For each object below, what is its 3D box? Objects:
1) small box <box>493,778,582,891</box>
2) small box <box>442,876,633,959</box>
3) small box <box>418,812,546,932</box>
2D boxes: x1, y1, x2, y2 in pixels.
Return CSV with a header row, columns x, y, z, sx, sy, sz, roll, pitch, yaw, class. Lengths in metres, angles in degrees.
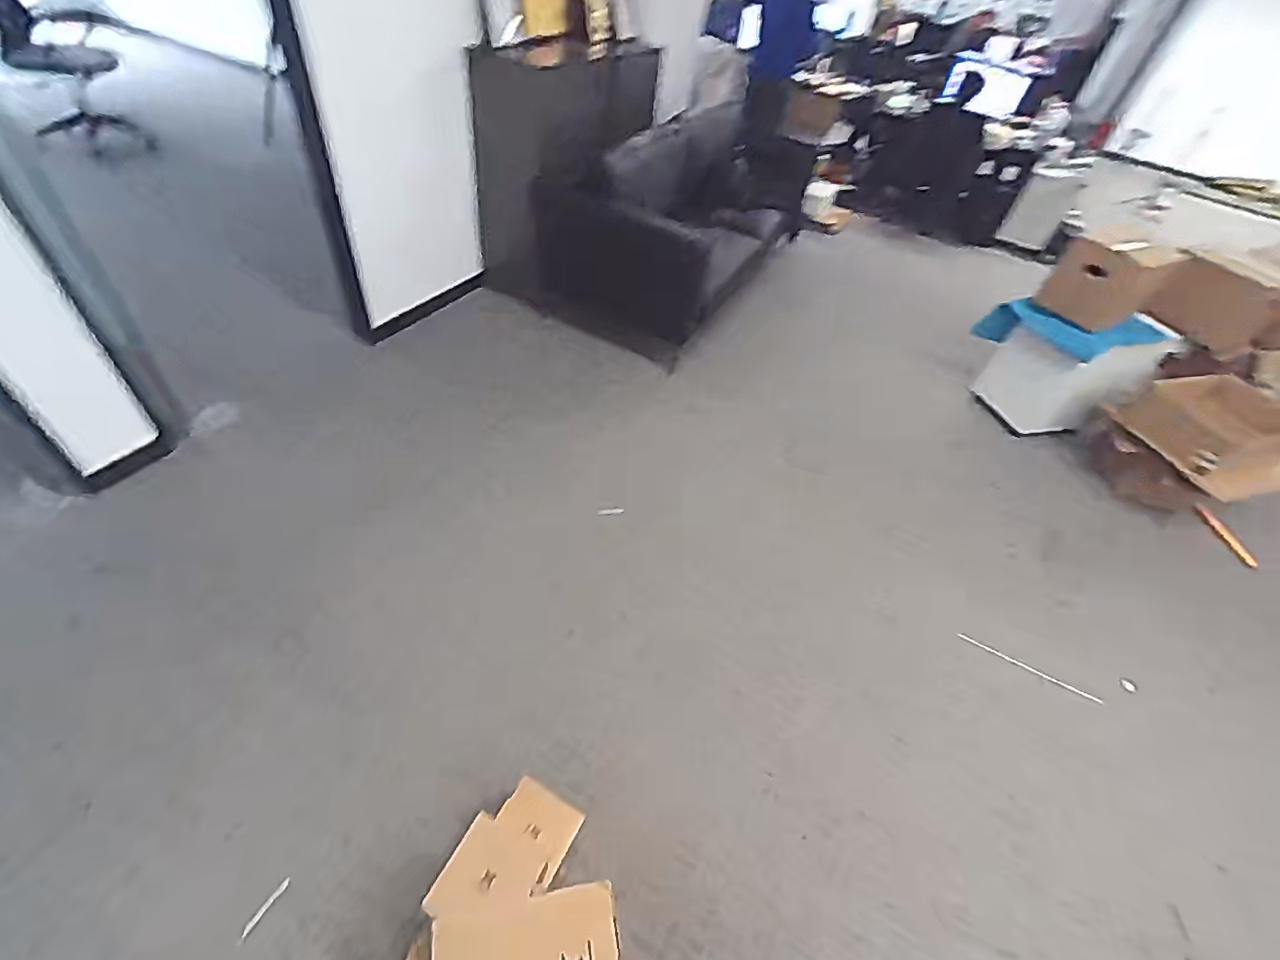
x,y,z,sx,sy,sz,roll,pitch,yaw,class
-0.254,0.840,1.261,0.179,0.176,0.168,26,47,14,small box
-0.100,0.521,0.538,0.179,0.176,0.168,-2,46,-13,small box
-0.299,0.802,1.057,0.168,0.176,0.179,25,45,12,small box
